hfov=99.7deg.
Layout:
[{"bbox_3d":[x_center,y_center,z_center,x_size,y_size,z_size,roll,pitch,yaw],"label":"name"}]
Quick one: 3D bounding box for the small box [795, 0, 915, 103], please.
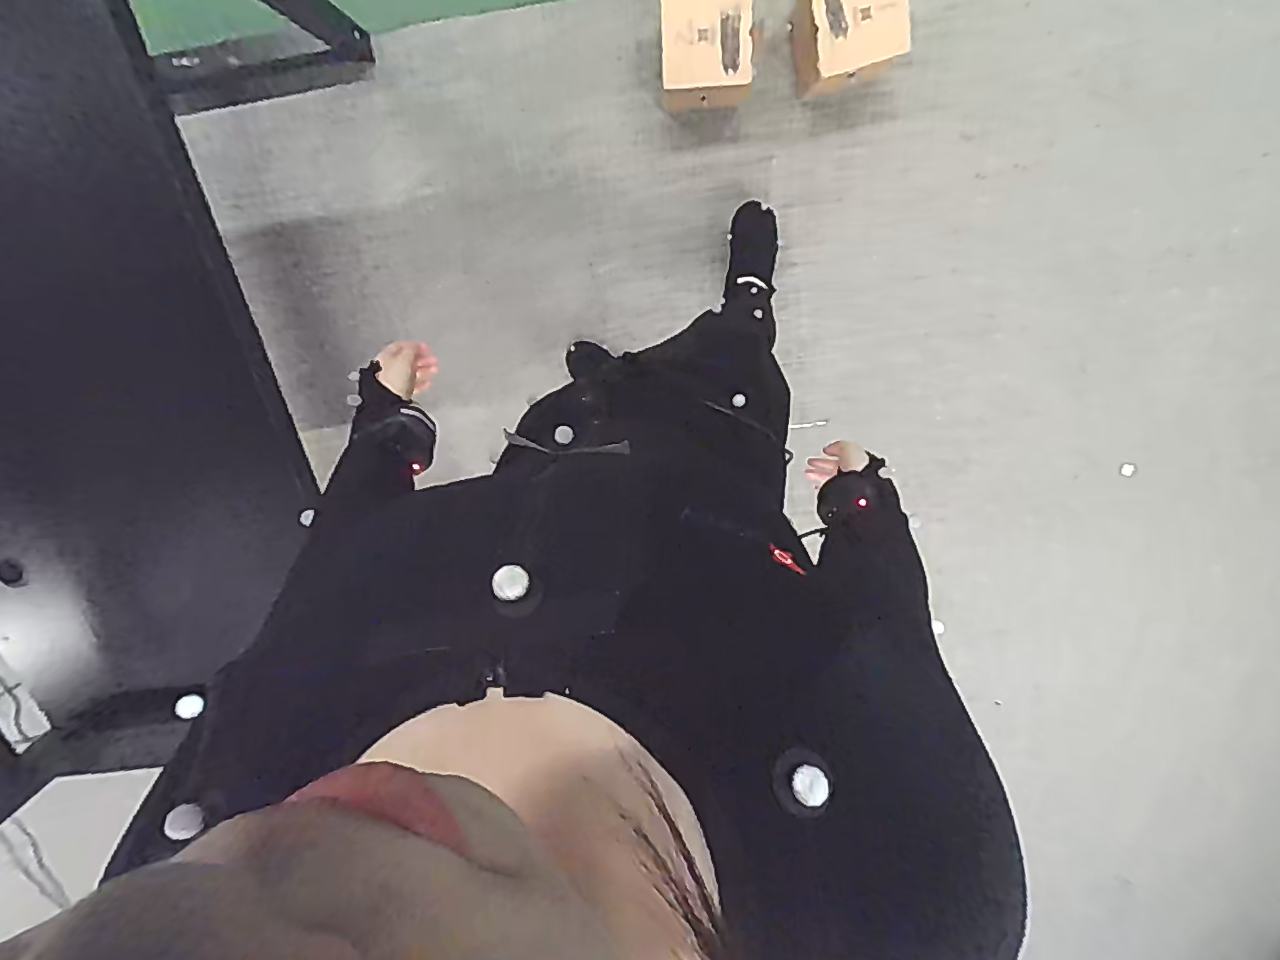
[{"bbox_3d":[0.416,-0.881,1.073,0.179,0.176,0.168,-14,111,6],"label":"small box"}]
